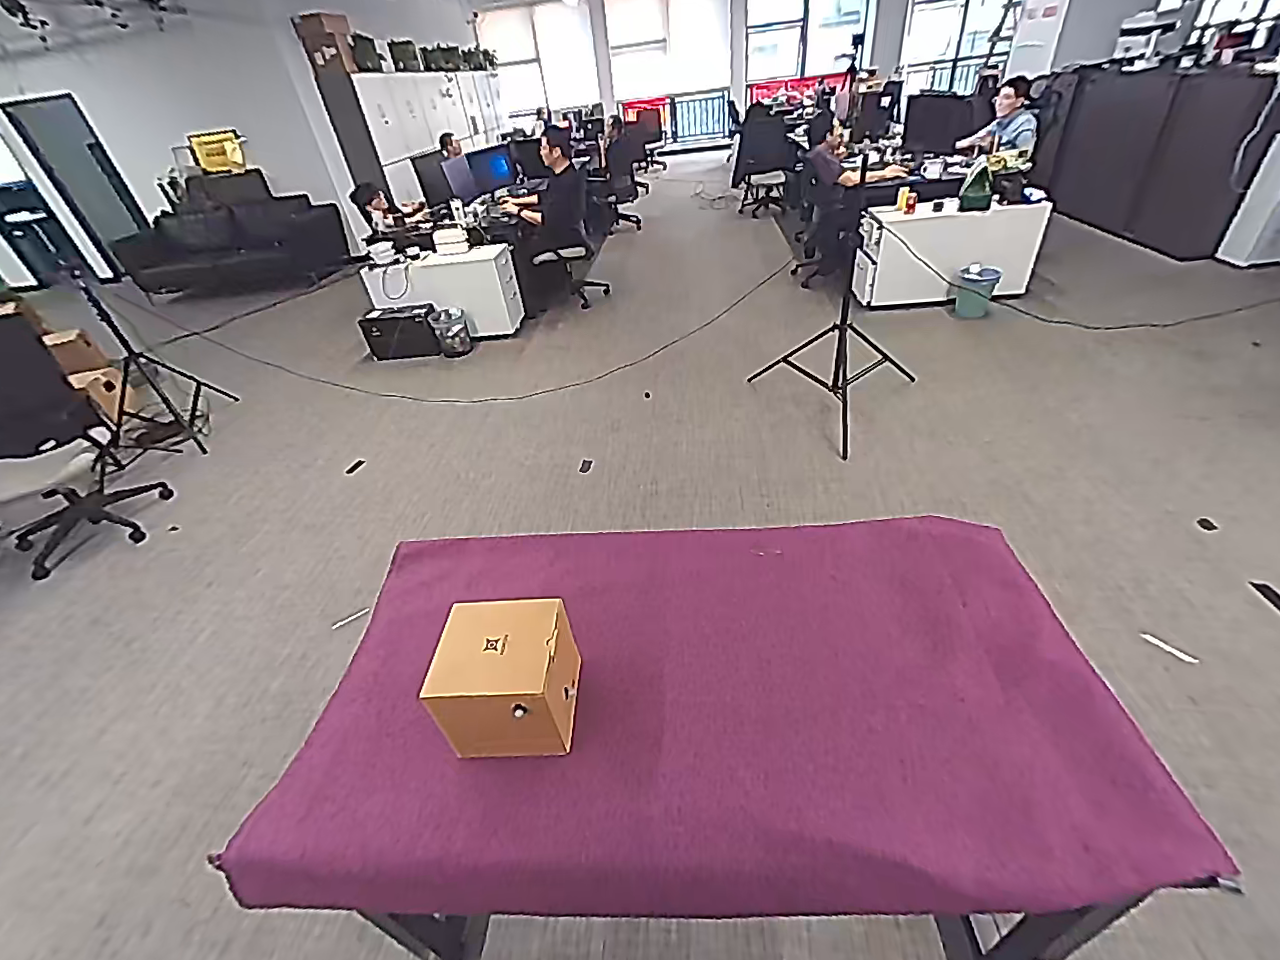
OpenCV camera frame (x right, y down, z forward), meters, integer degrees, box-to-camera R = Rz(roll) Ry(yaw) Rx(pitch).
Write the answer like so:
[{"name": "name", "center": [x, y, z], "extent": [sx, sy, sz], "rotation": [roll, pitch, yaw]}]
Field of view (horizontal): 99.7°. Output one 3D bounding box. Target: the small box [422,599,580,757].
[{"name": "small box", "center": [-0.199, 0.306, 0.831], "extent": [0.179, 0.176, 0.168], "rotation": [-4, 36, 4]}]
